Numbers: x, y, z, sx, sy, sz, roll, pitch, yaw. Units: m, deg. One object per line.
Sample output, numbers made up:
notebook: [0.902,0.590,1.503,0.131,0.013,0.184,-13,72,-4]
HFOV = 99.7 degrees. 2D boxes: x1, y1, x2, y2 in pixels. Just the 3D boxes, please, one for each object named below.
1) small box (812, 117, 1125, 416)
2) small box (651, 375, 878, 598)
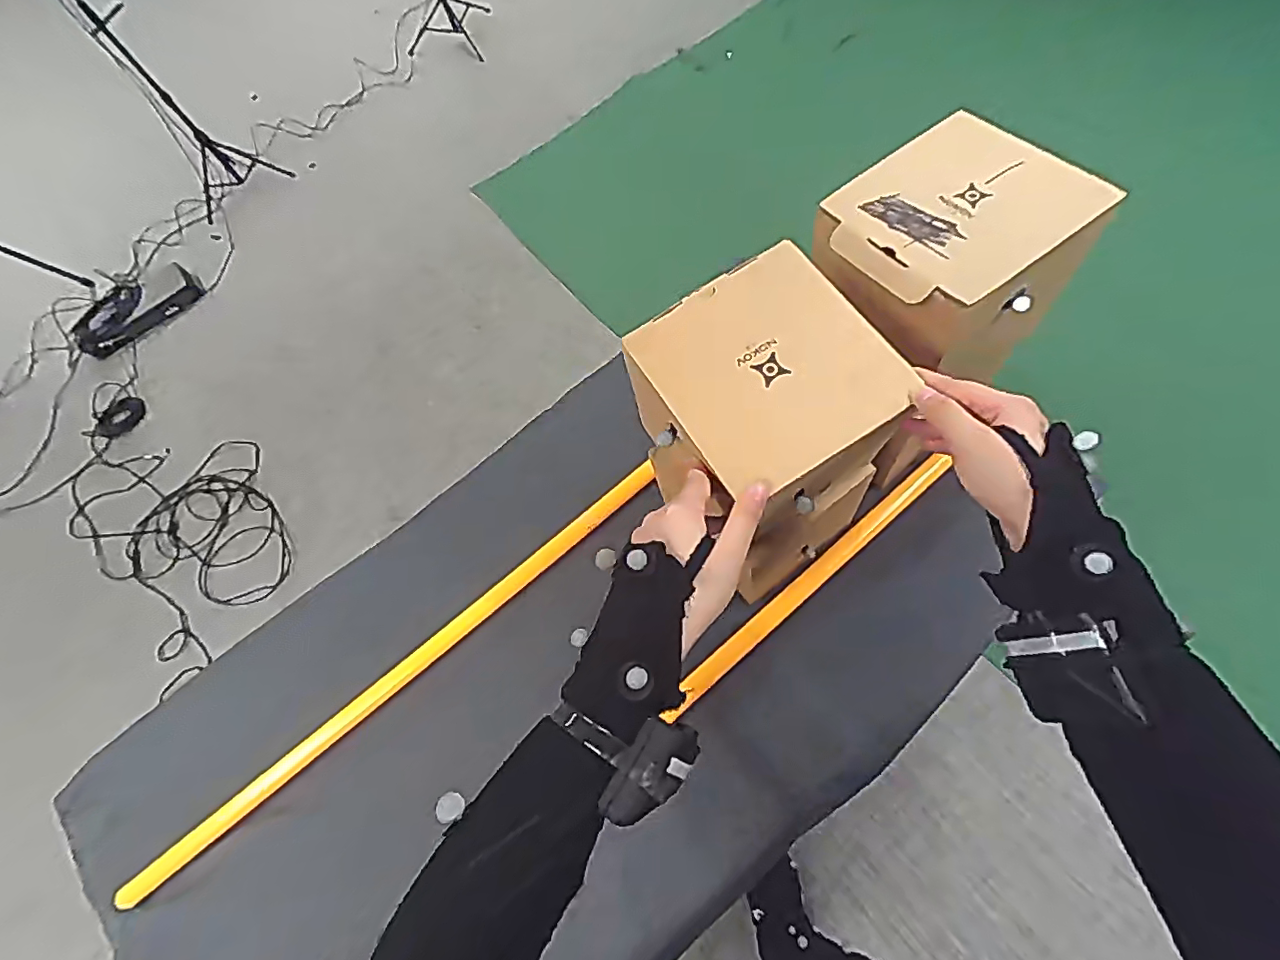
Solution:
small box: [0.285,-0.194,0.523,0.179,0.176,0.168,-35,64,-7]
small box: [0.139,0.020,0.633,0.168,0.176,0.179,-36,64,-6]
